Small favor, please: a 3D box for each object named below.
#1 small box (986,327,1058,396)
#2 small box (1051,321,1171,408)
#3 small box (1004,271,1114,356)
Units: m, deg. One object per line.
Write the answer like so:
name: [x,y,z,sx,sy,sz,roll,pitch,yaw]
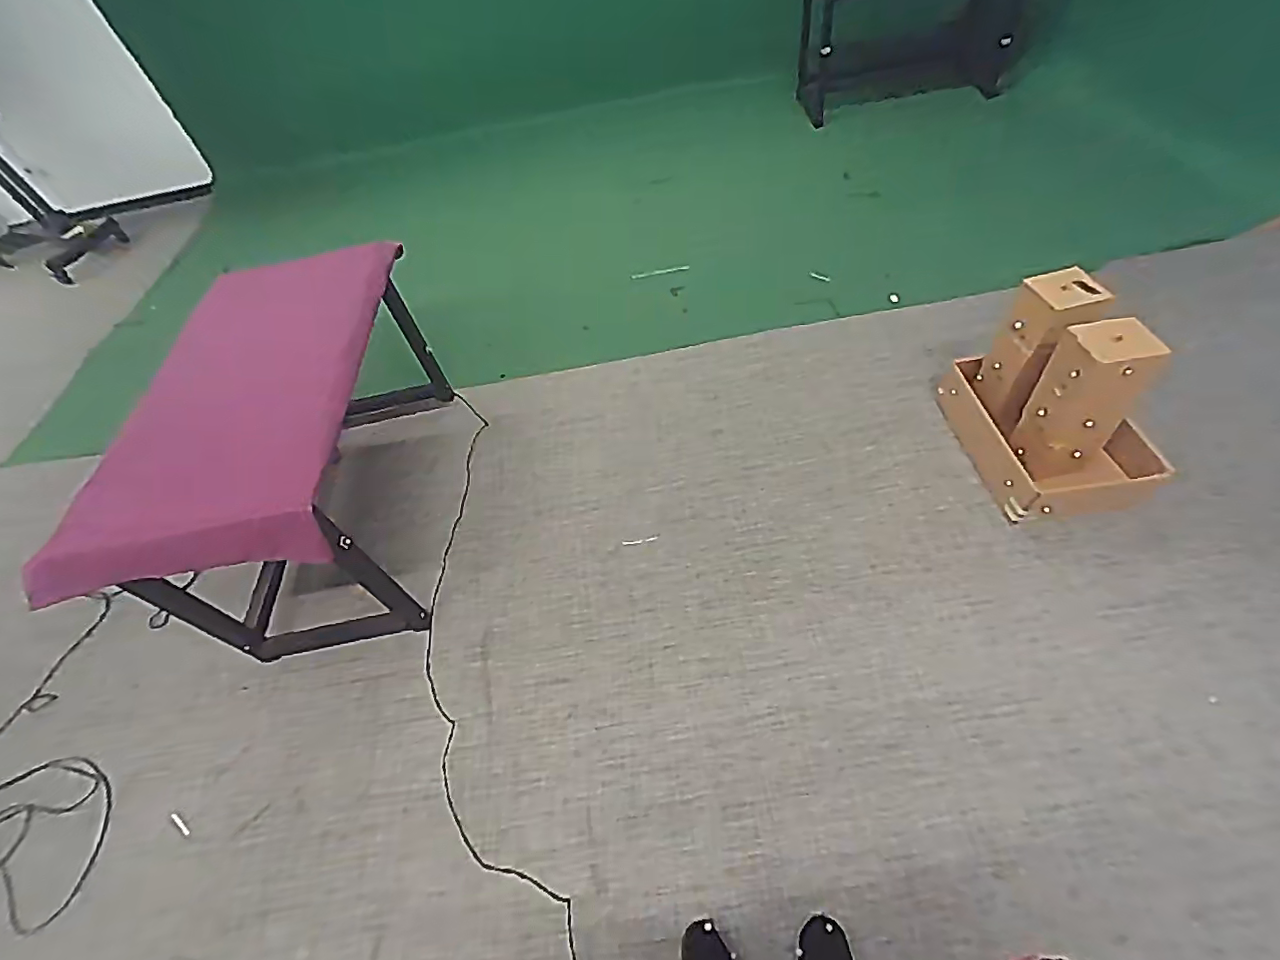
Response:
small box: [1.292,-0.402,1.783,0.179,0.176,0.168,-9,52,3]
small box: [1.298,-0.318,1.514,0.179,0.176,0.168,-7,50,6]
small box: [1.274,-0.508,1.659,0.179,0.176,0.168,-13,52,0]
